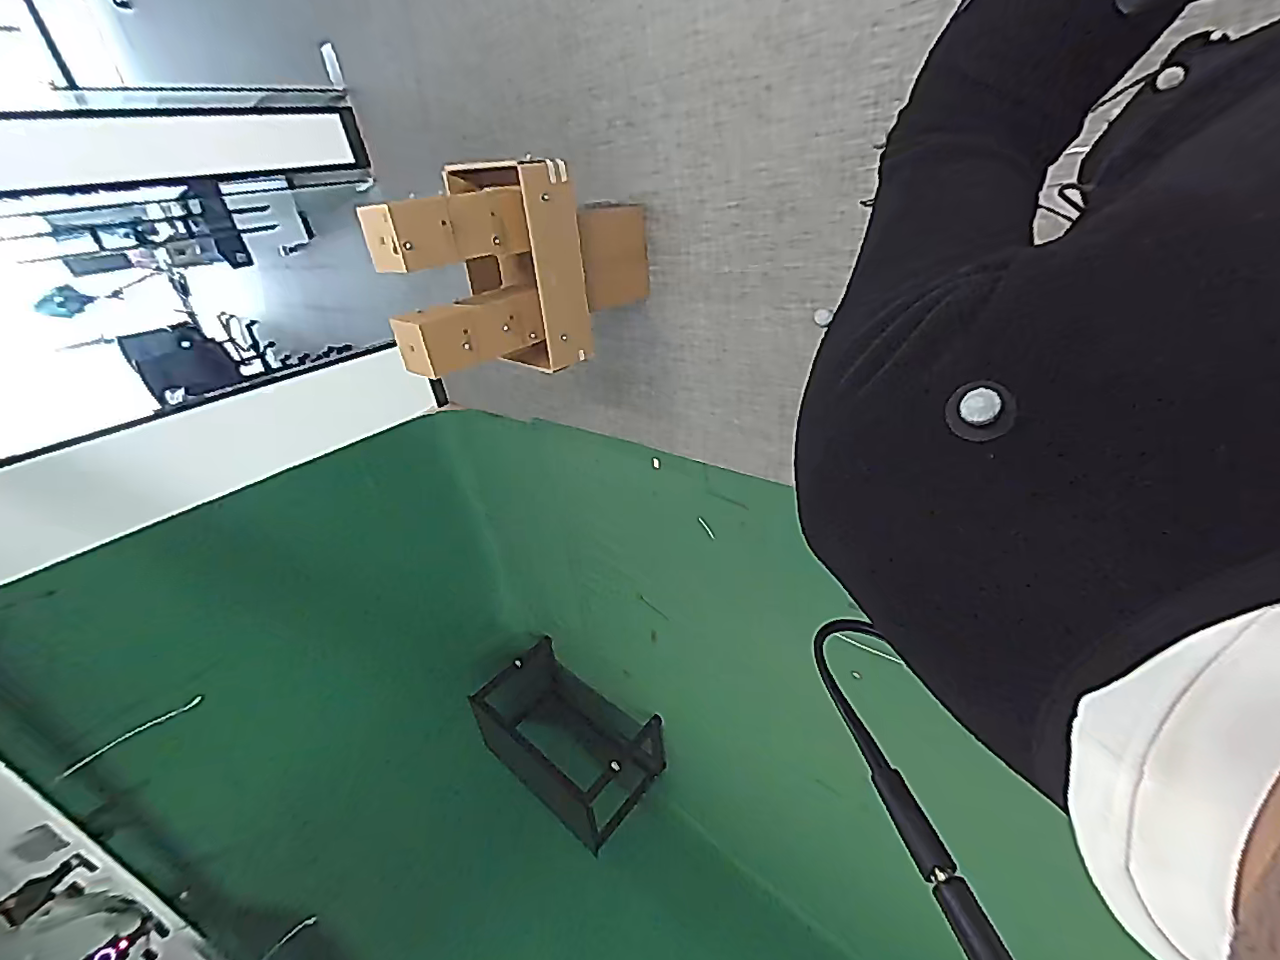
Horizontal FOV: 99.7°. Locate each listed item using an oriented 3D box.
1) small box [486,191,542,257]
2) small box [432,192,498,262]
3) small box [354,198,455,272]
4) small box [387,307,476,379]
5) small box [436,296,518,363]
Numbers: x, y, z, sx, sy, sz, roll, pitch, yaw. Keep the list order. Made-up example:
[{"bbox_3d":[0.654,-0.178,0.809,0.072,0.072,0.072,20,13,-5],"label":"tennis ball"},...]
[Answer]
[{"bbox_3d":[-0.433,-0.807,1.694,0.179,0.176,0.168,22,129,34],"label":"small box"},{"bbox_3d":[-0.535,-0.742,1.582,0.179,0.176,0.168,19,127,37],"label":"small box"},{"bbox_3d":[-0.637,-0.670,1.476,0.179,0.176,0.168,18,128,37],"label":"small box"},{"bbox_3d":[-0.625,-0.420,1.632,0.179,0.176,0.168,20,129,37],"label":"small box"},{"bbox_3d":[-0.520,-0.489,1.735,0.179,0.176,0.168,19,129,37],"label":"small box"}]
